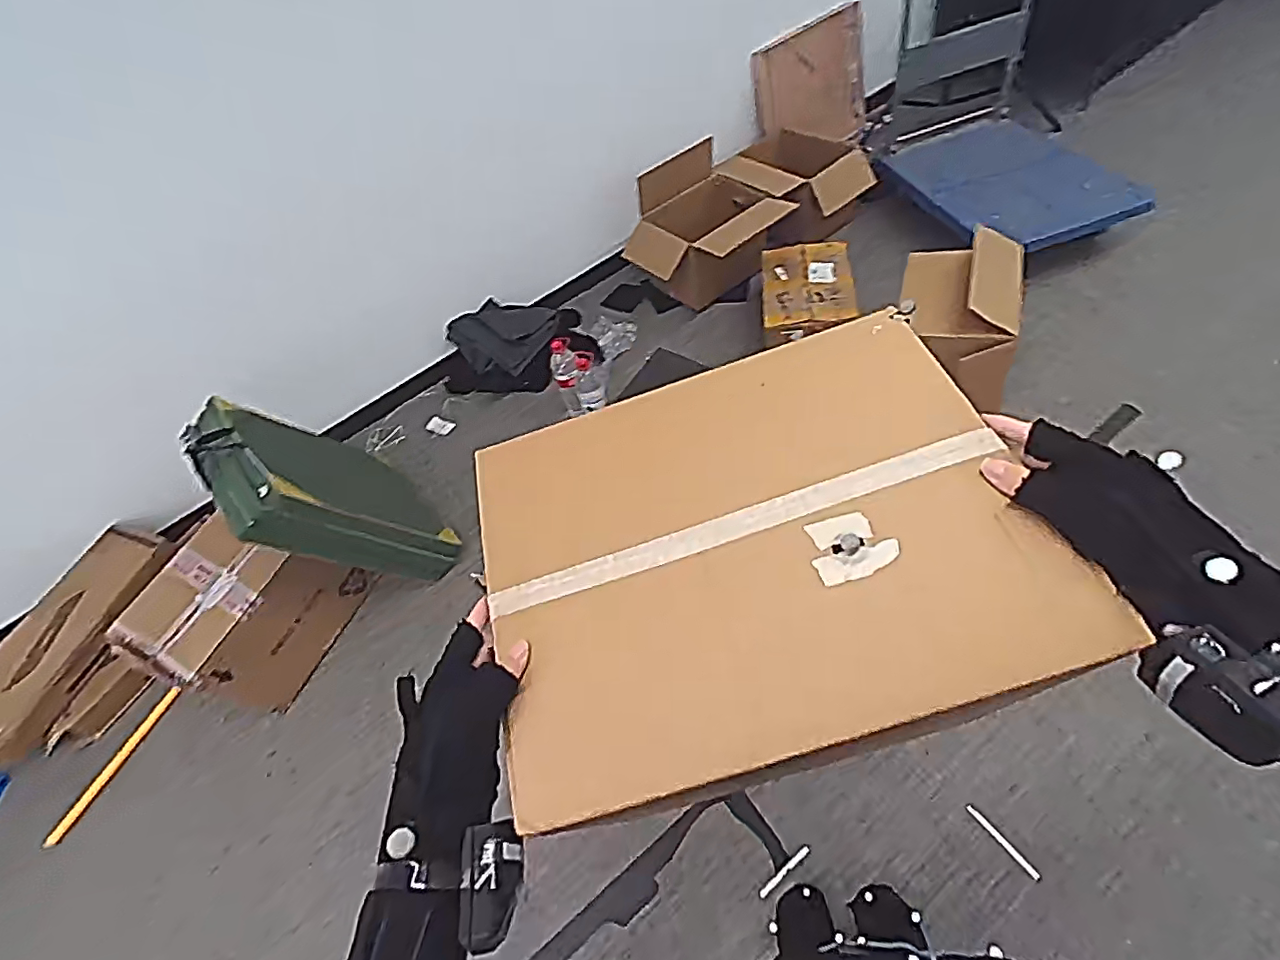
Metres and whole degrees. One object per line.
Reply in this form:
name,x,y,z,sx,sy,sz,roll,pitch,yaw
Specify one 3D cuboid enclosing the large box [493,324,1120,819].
large box,0.111,0.114,0.552,0.408,0.320,0.320,-18,58,3
